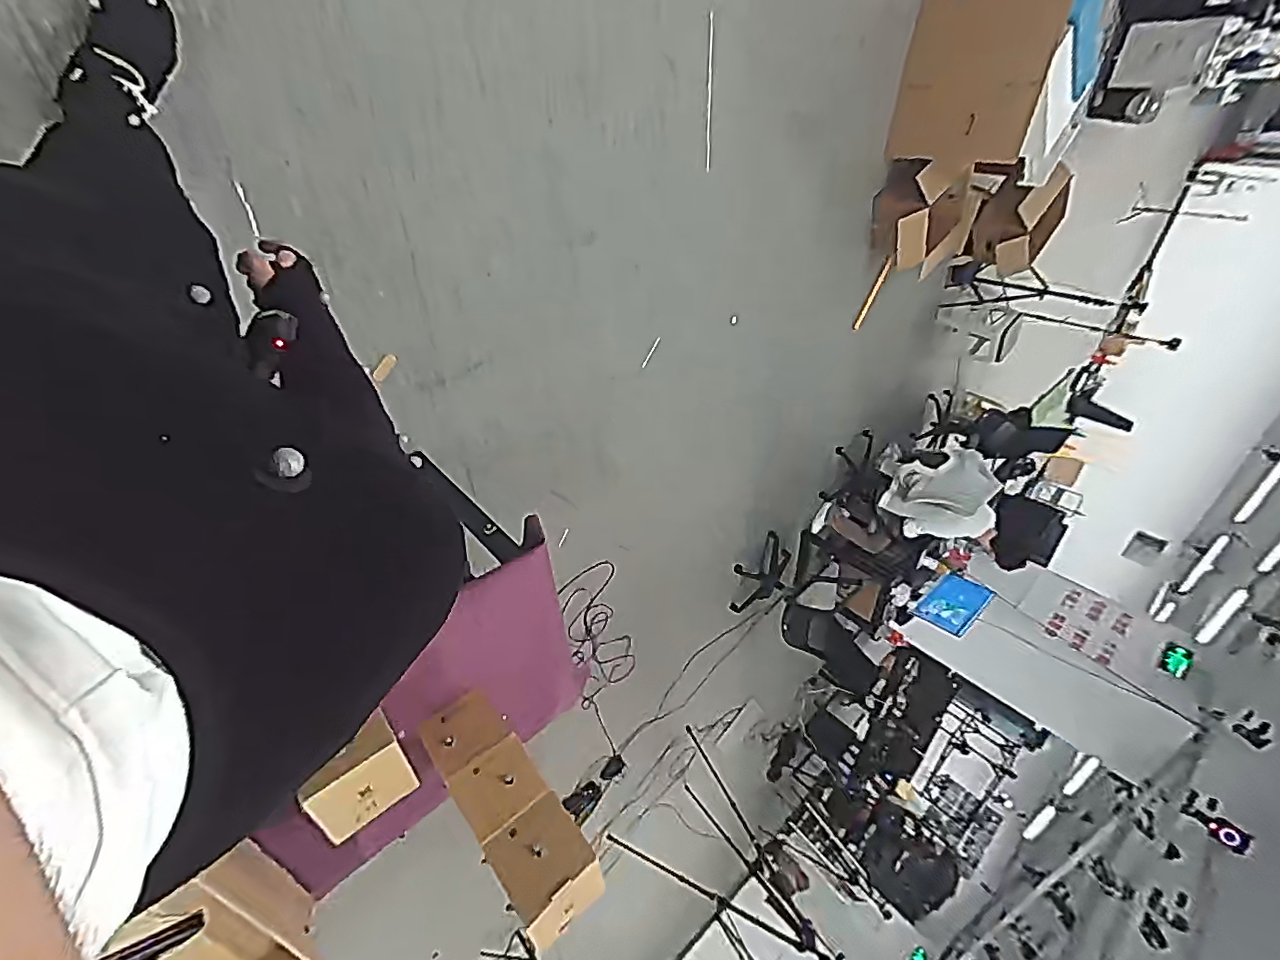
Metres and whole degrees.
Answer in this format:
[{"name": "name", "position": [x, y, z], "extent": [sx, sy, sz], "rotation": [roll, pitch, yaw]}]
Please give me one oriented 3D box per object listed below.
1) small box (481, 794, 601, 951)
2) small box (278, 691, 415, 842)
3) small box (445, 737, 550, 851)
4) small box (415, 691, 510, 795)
[{"name": "small box", "position": [-0.200, 0.779, 1.091], "extent": [0.168, 0.176, 0.179], "rotation": [-29, 133, -29]}, {"name": "small box", "position": [-0.571, 0.545, 1.055], "extent": [0.168, 0.176, 0.179], "rotation": [-28, 134, -31]}, {"name": "small box", "position": [-0.307, 0.705, 1.191], "extent": [0.168, 0.176, 0.179], "rotation": [-29, 134, -30]}, {"name": "small box", "position": [-0.413, 0.640, 1.294], "extent": [0.168, 0.176, 0.179], "rotation": [-28, 133, -30]}]
